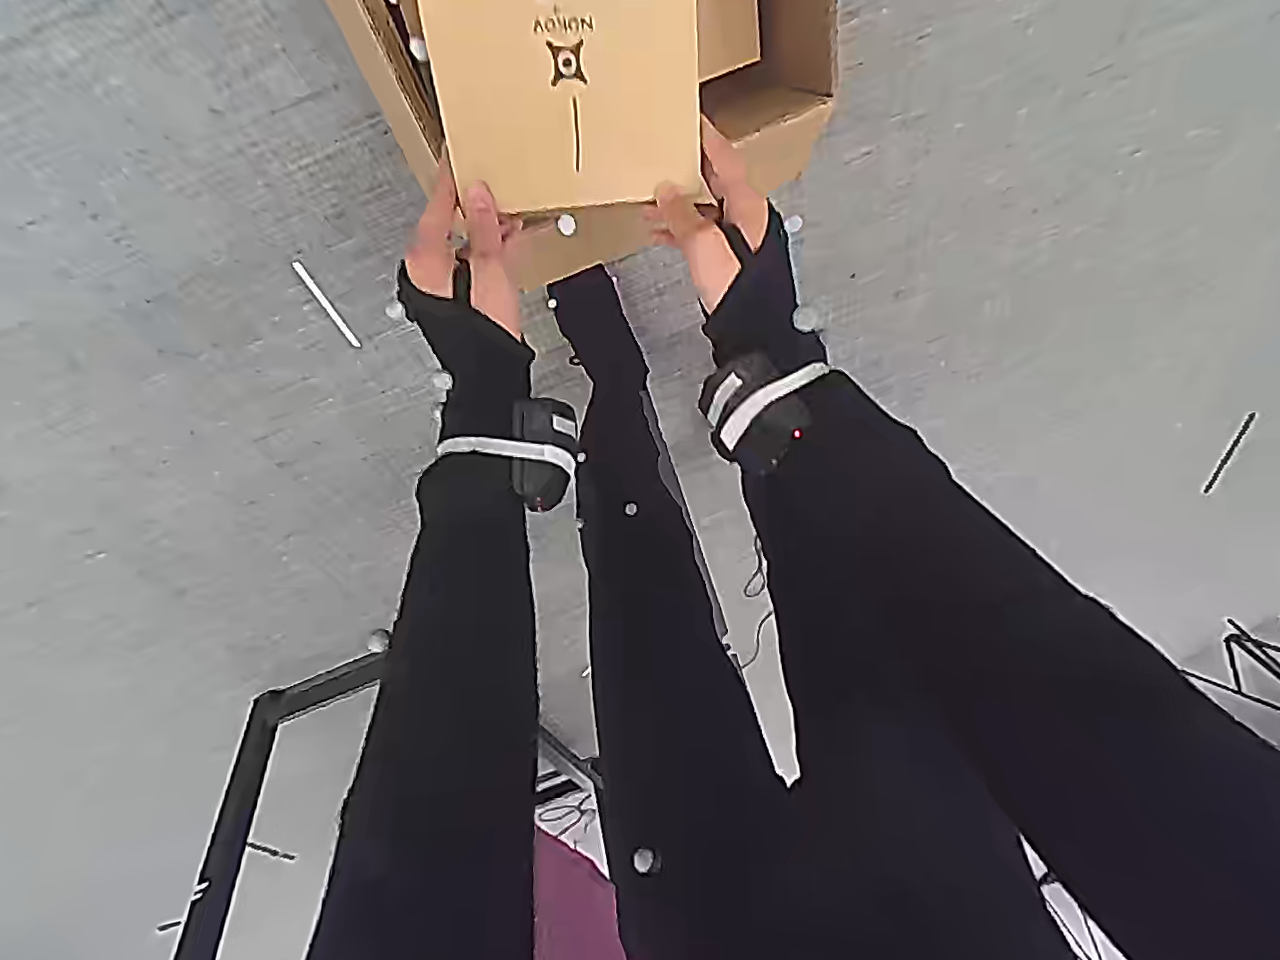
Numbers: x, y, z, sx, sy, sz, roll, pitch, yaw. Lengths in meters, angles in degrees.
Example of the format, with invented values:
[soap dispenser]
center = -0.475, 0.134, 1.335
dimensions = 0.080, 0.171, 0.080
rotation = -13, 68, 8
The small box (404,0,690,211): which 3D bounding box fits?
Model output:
[small box]
center = -0.069, -0.300, 0.390
dimensions = 0.168, 0.176, 0.179
rotation = -10, 117, -8
